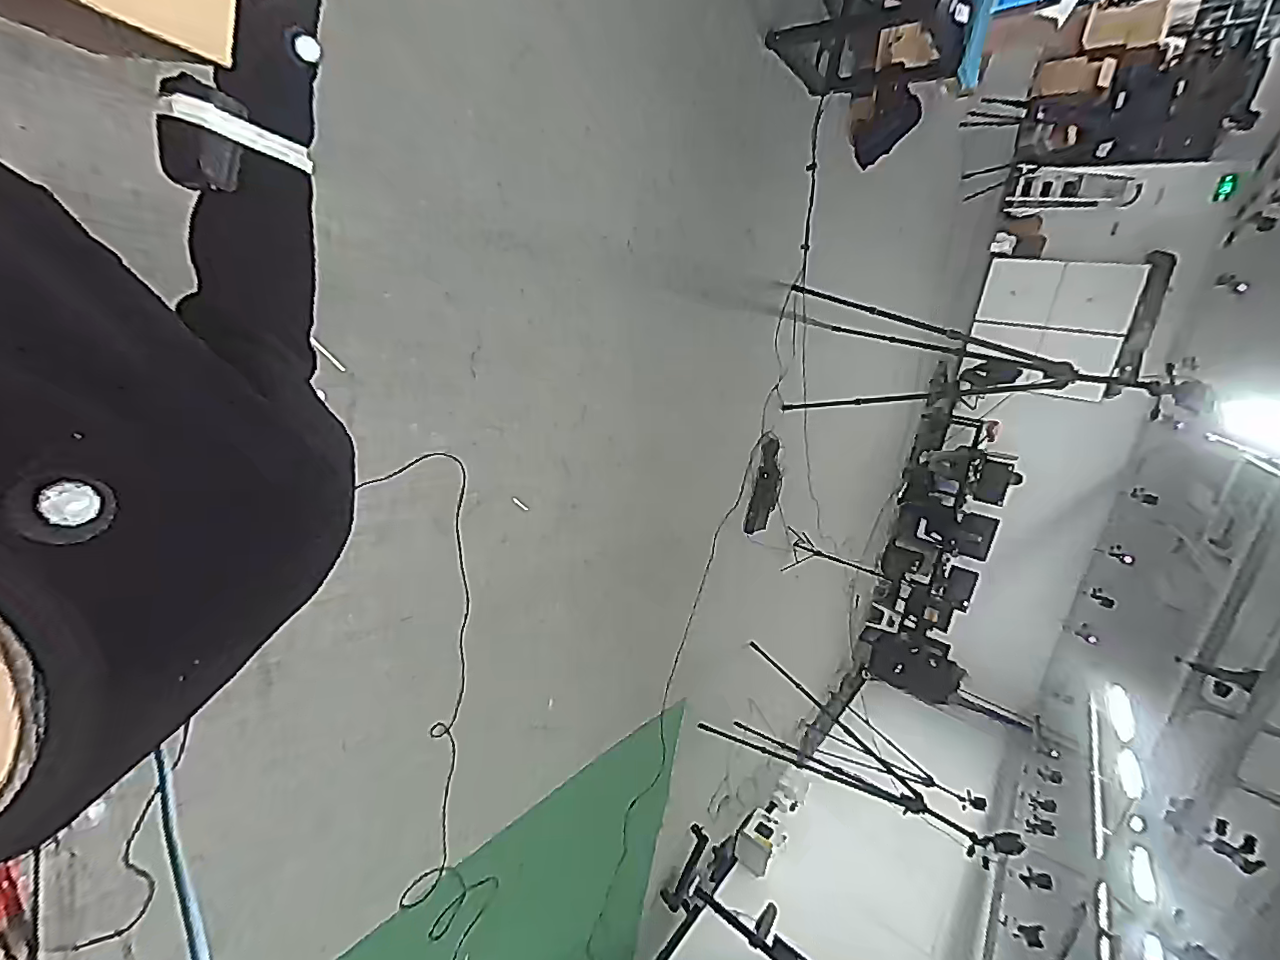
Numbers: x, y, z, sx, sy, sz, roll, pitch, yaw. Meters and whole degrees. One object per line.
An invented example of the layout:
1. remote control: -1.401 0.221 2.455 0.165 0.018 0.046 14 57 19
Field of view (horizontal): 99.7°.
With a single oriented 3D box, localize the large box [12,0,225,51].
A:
1. large box: -0.466 -0.469 0.234 0.408 0.320 0.320 -9 122 -54
